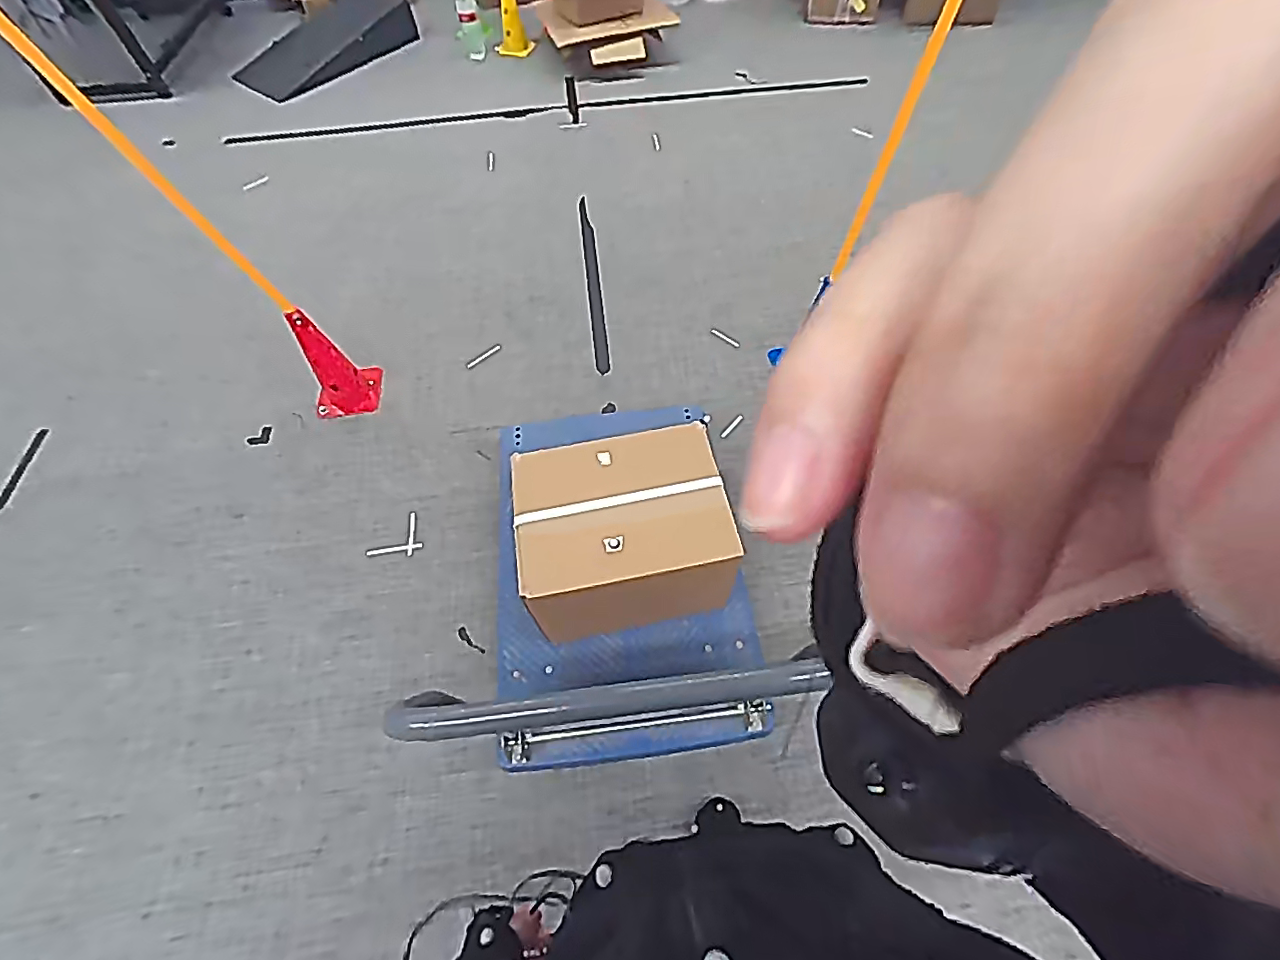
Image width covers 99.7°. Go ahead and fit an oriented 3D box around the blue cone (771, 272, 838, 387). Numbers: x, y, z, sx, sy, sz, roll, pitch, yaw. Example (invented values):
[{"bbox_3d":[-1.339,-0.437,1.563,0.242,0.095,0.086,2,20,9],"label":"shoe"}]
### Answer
[{"bbox_3d":[0.561,-0.483,1.714,0.193,0.380,0.192,-10,58,-5],"label":"blue cone"}]
